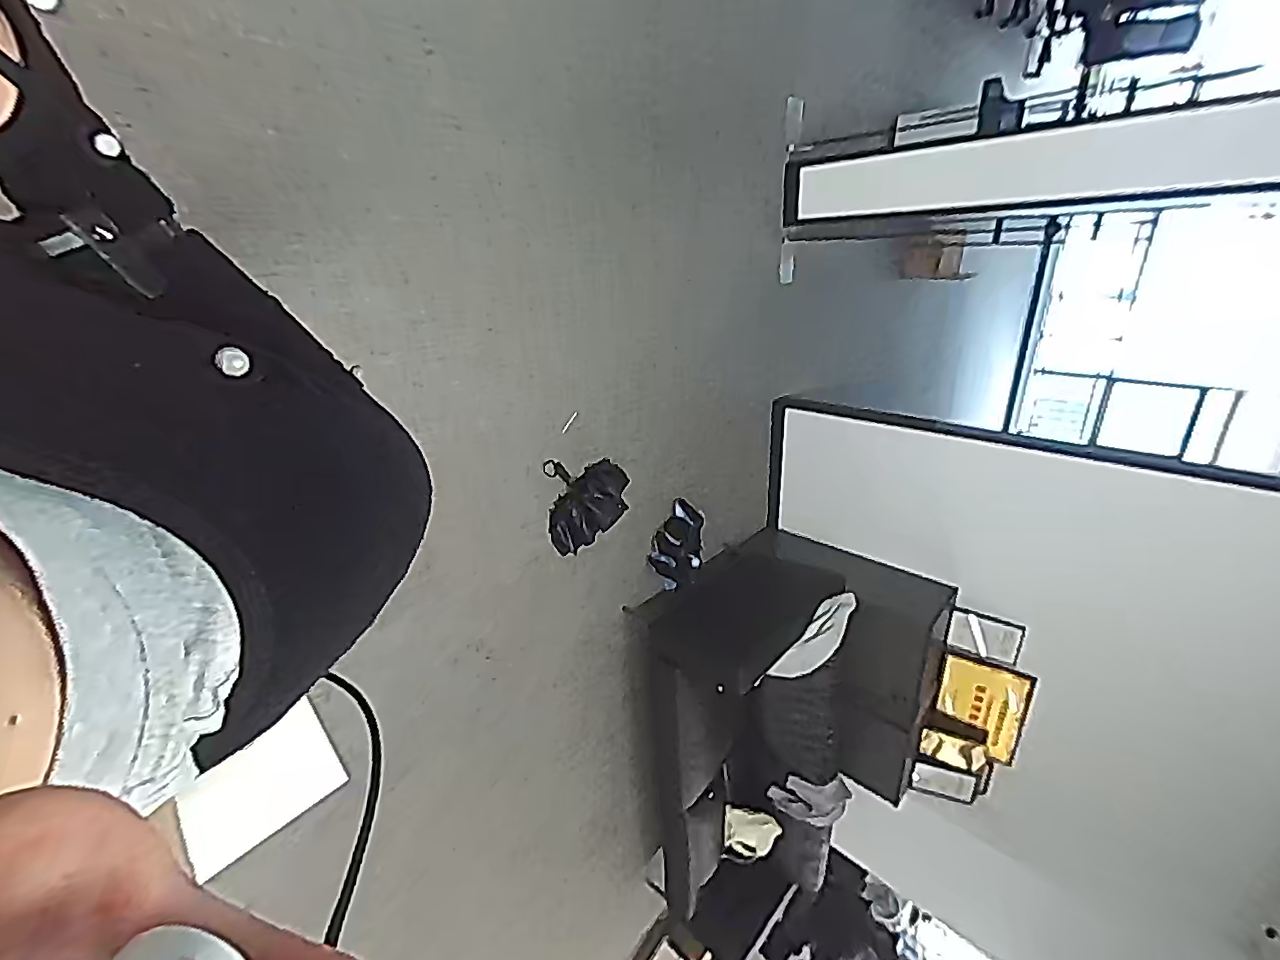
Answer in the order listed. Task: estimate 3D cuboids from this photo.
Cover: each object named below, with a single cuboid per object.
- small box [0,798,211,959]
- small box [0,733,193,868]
[{"bbox_3d":[-0.634,0.521,0.625,0.168,0.176,0.179,-25,121,-40],"label":"small box"},{"bbox_3d":[-0.752,0.478,0.730,0.168,0.176,0.179,-26,124,-39],"label":"small box"}]
